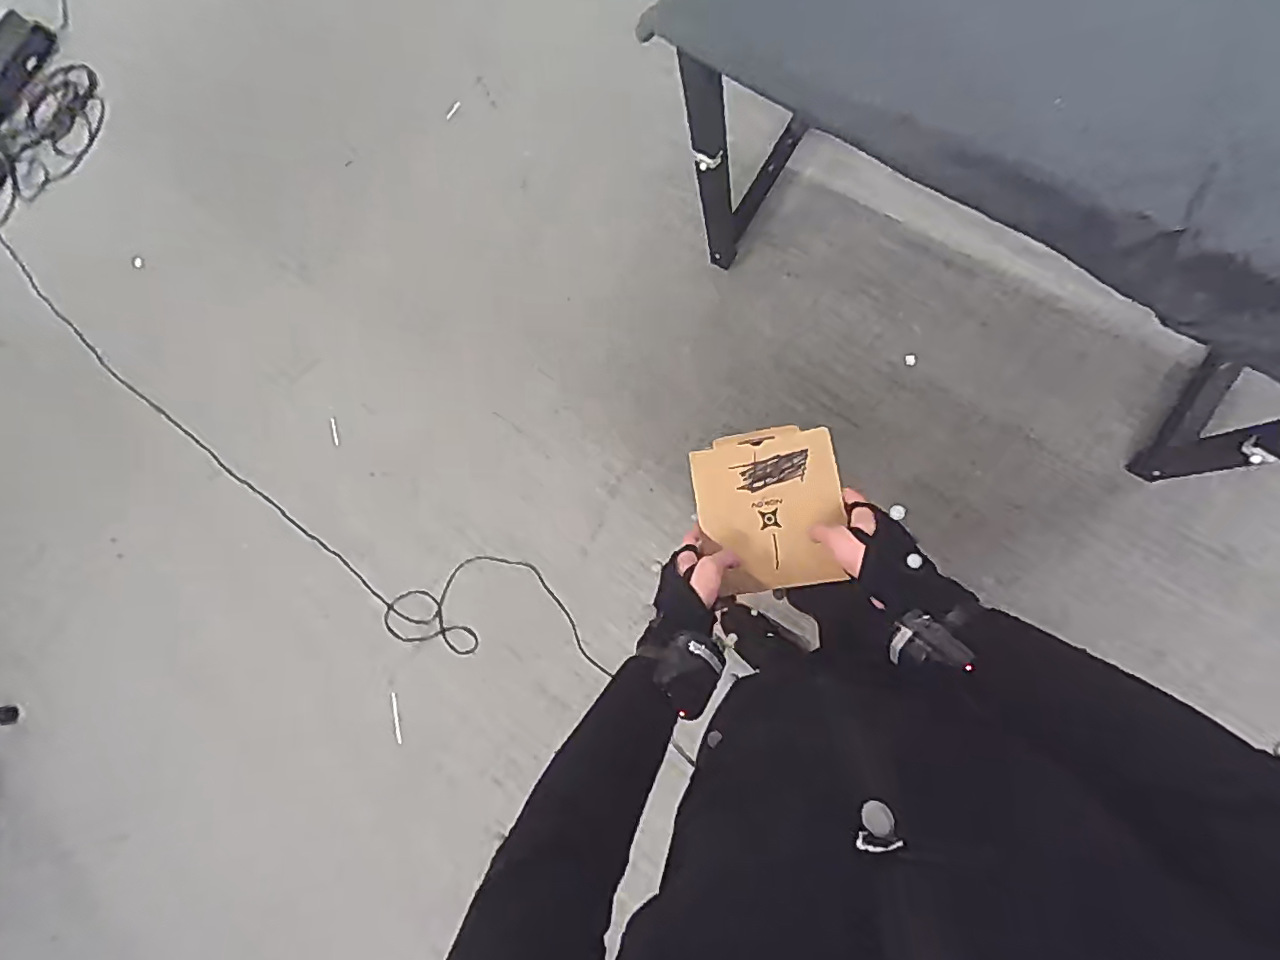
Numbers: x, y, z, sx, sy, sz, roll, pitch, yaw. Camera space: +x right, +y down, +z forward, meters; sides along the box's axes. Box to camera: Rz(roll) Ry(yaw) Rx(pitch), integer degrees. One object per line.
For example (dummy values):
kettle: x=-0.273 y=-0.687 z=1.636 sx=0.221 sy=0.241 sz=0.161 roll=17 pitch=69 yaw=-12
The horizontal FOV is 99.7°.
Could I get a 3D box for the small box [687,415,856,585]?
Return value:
small box: x=0.162 y=0.036 z=0.688 sx=0.168 sy=0.176 sz=0.179 roll=-11 pitch=79 yaw=13
